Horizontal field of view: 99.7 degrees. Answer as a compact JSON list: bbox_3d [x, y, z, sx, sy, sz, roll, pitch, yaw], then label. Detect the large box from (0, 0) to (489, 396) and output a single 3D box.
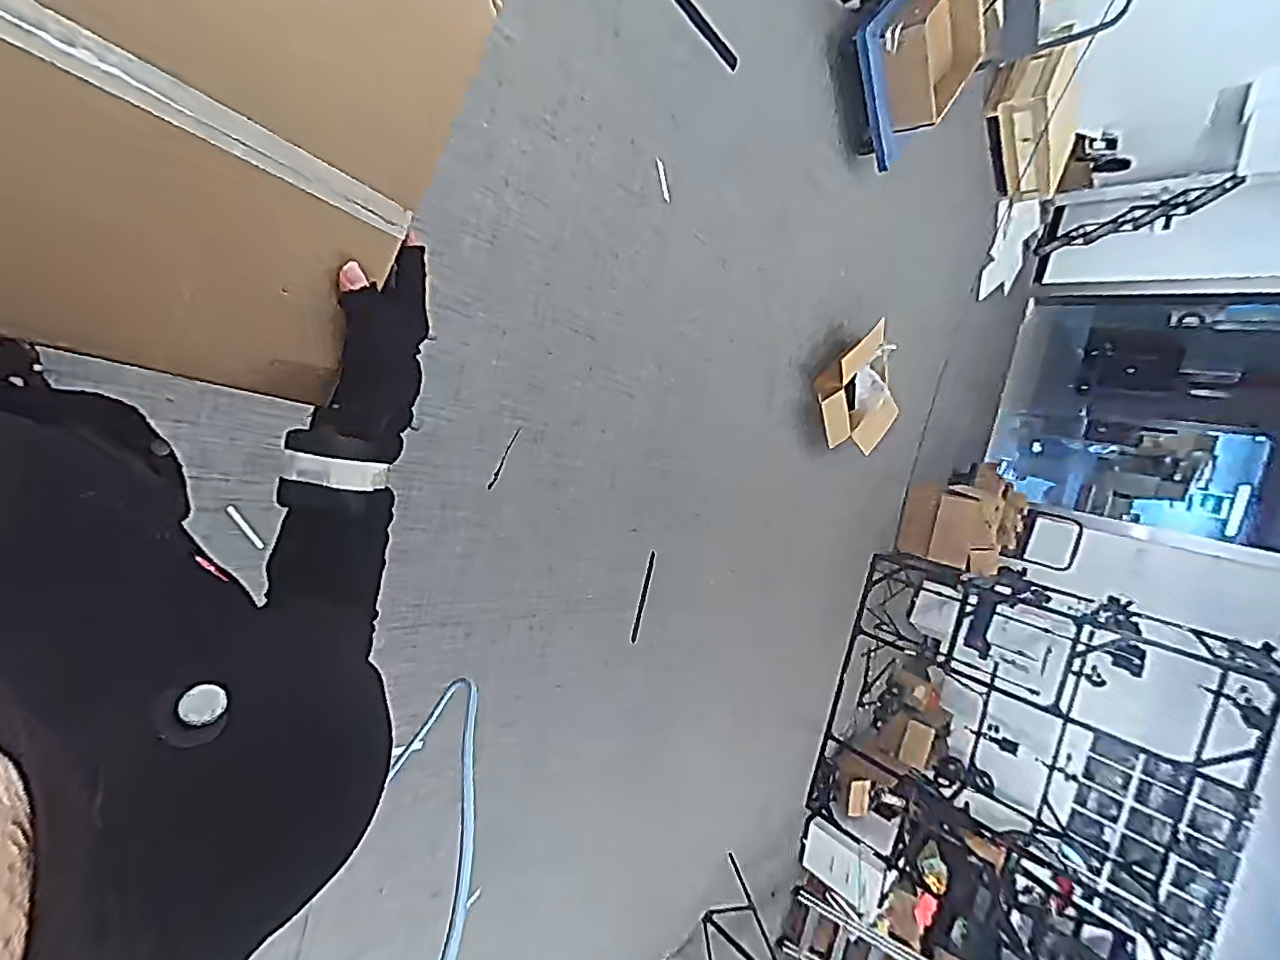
[{"bbox_3d":[-0.386,-0.297,0.324,0.408,0.320,0.320,12,117,-52],"label":"large box"}]
